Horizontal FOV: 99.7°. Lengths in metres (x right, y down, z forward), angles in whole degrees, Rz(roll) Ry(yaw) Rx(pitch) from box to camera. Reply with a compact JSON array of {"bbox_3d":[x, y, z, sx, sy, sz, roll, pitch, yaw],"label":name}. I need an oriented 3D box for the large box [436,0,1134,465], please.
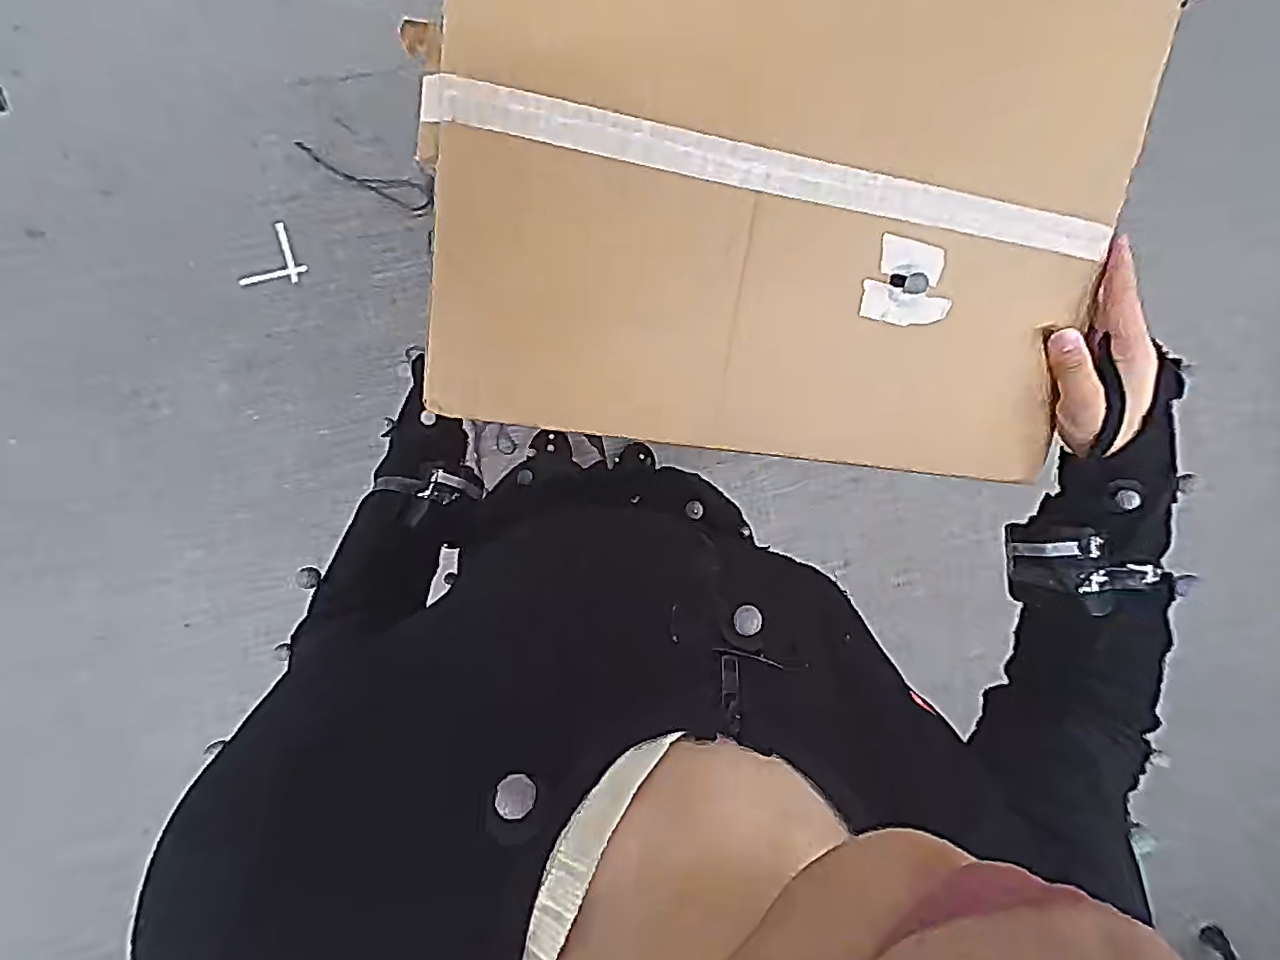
[{"bbox_3d":[0.062,-0.203,0.457,0.408,0.320,0.320,4,103,-12],"label":"large box"}]
